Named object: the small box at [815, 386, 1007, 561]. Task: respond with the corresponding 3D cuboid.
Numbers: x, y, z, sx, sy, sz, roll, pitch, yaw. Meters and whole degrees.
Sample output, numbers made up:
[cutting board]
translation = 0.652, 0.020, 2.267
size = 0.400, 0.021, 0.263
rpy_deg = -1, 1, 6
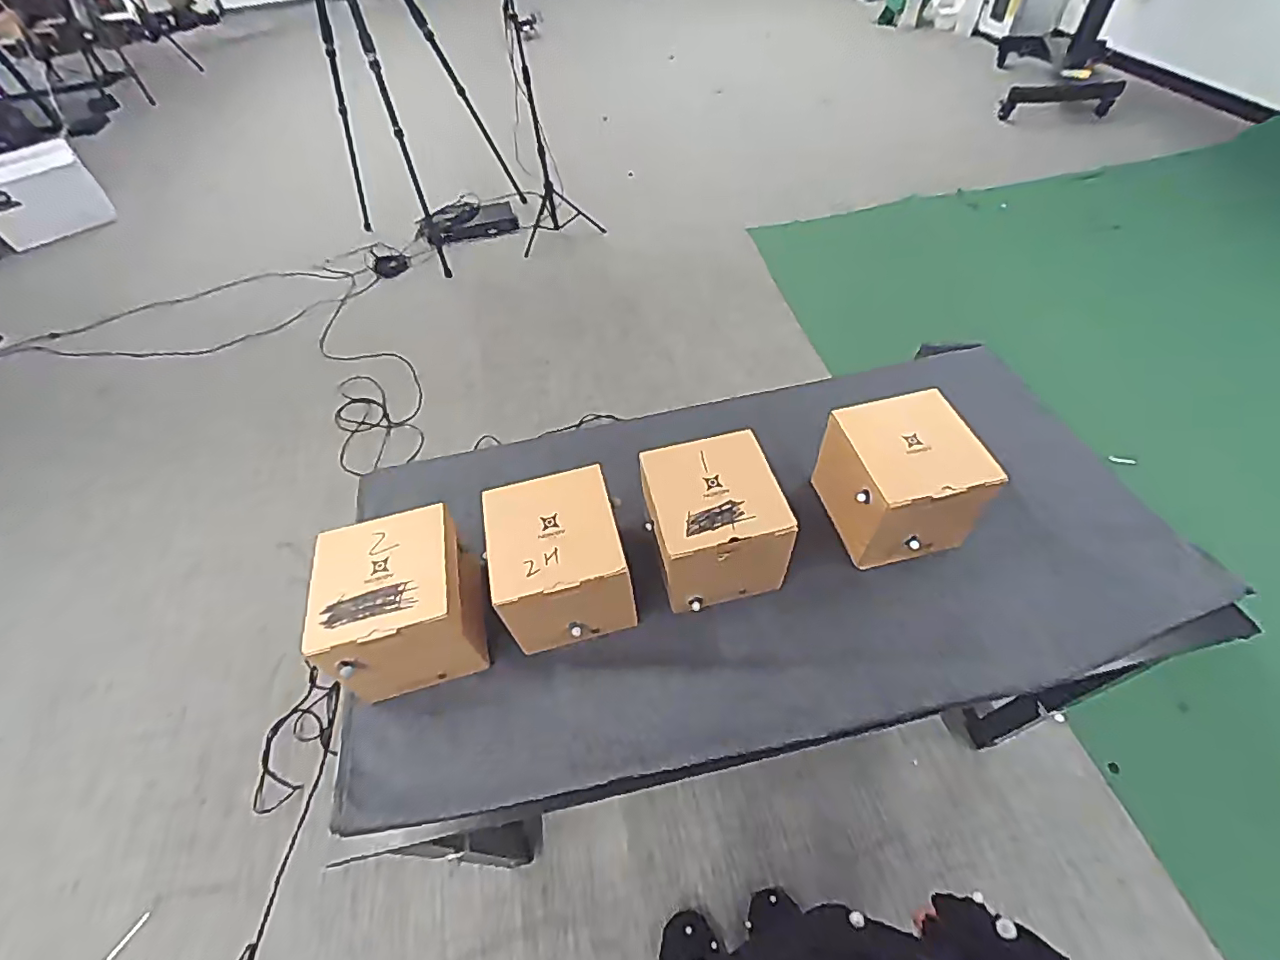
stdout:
[small box]
translation = 0.377, -0.007, 0.796
size = 0.168, 0.176, 0.179
rpy_deg = -13, 53, -4
